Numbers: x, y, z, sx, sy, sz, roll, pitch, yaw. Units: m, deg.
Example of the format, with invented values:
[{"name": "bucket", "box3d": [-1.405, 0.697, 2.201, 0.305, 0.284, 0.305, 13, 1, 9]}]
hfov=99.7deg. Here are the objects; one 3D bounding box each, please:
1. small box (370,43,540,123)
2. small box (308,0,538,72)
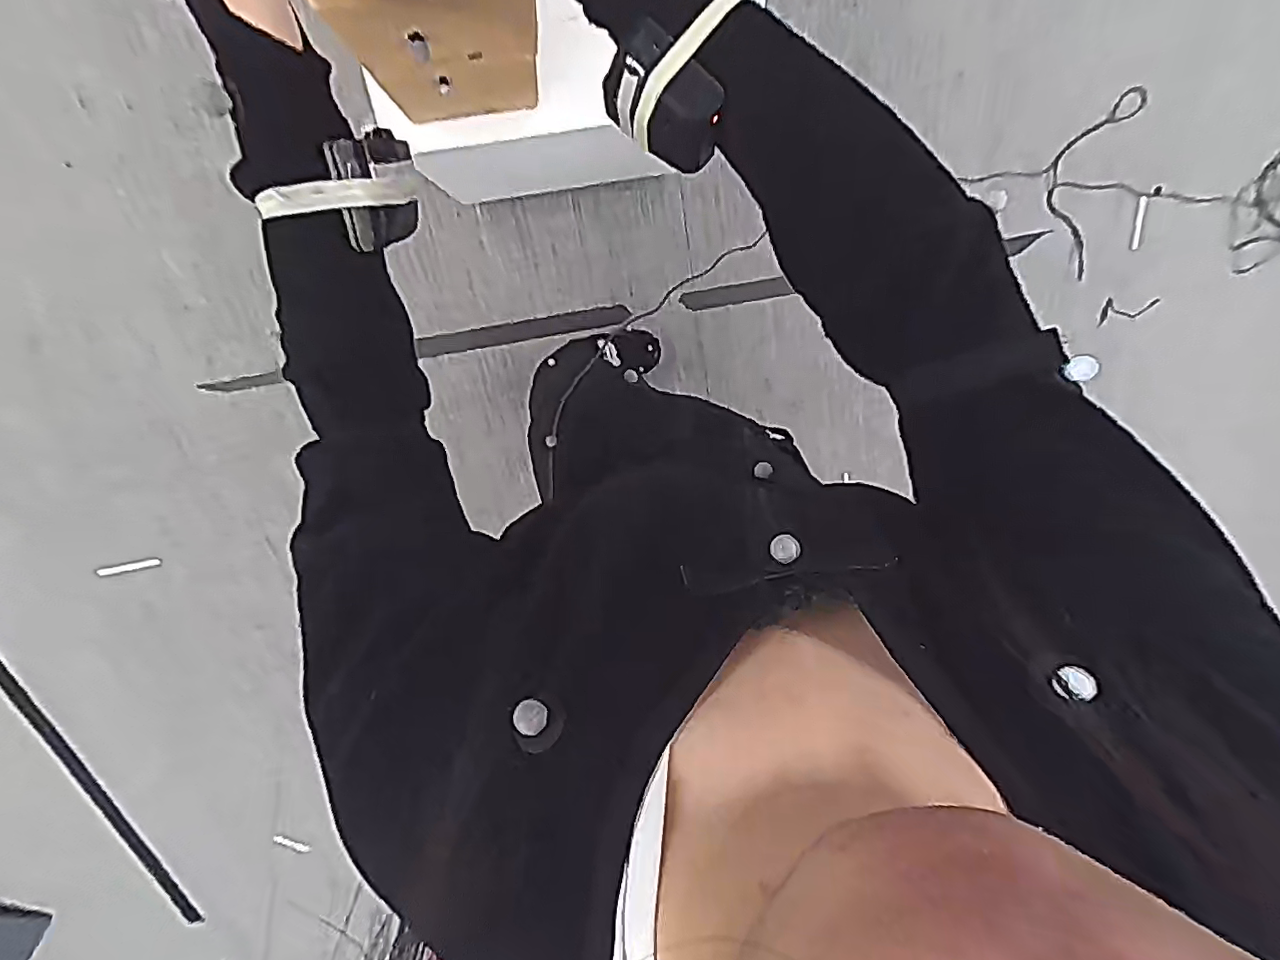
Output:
[{"name": "small box", "box3d": [-0.207, -0.518, 0.584, 0.168, 0.176, 0.179, -11, 111, -5]}, {"name": "small box", "box3d": [-0.181, -0.459, 0.433, 0.168, 0.176, 0.179, -12, 112, -5]}]
